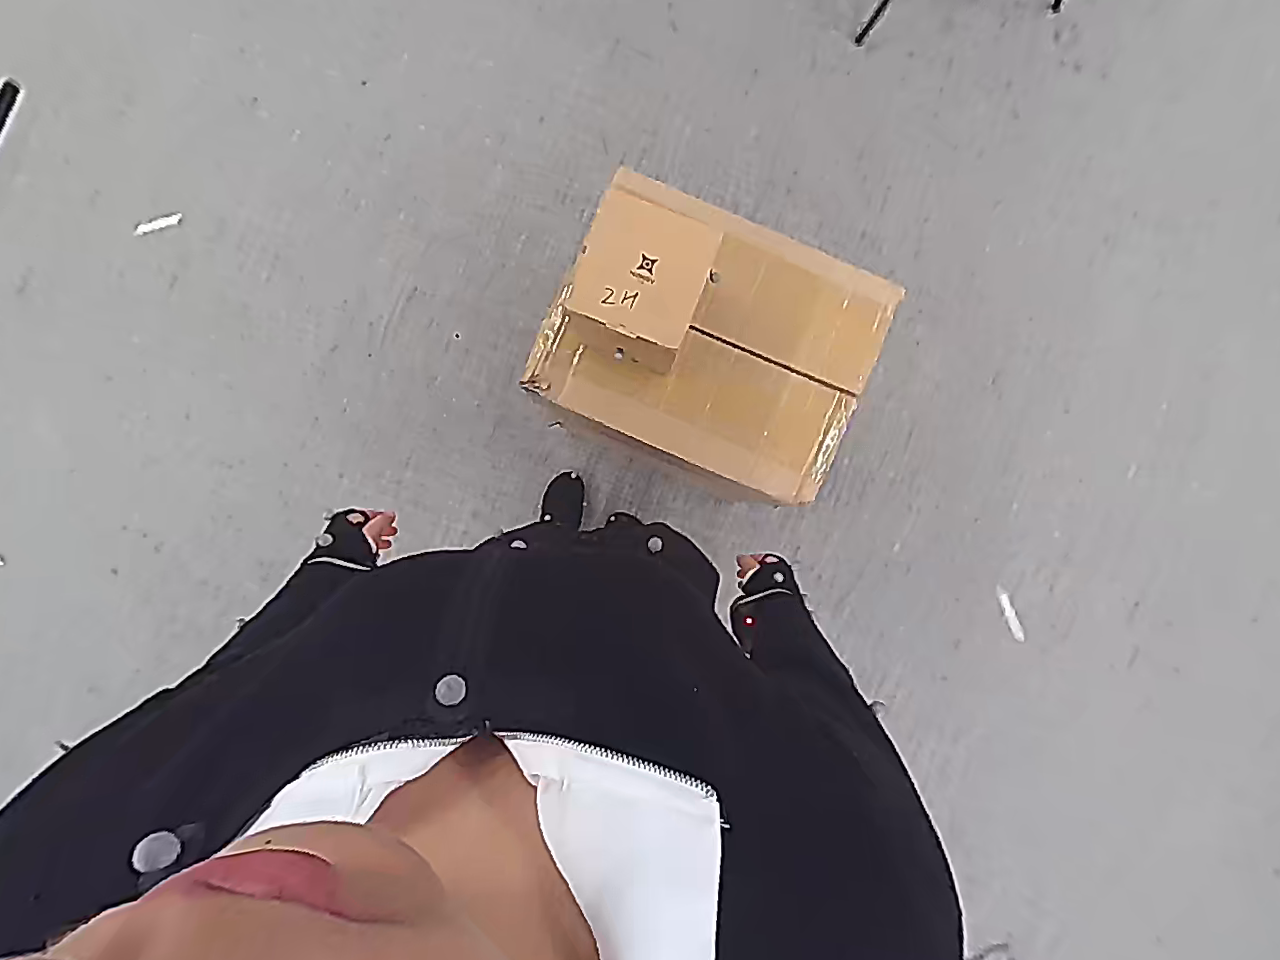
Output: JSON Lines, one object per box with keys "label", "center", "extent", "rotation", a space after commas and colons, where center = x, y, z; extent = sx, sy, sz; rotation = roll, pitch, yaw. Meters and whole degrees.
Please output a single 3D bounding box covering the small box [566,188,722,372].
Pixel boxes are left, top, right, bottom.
{"label": "small box", "center": [0.003, -0.282, 0.802], "extent": [0.168, 0.176, 0.179], "rotation": [22, 90, -1]}
